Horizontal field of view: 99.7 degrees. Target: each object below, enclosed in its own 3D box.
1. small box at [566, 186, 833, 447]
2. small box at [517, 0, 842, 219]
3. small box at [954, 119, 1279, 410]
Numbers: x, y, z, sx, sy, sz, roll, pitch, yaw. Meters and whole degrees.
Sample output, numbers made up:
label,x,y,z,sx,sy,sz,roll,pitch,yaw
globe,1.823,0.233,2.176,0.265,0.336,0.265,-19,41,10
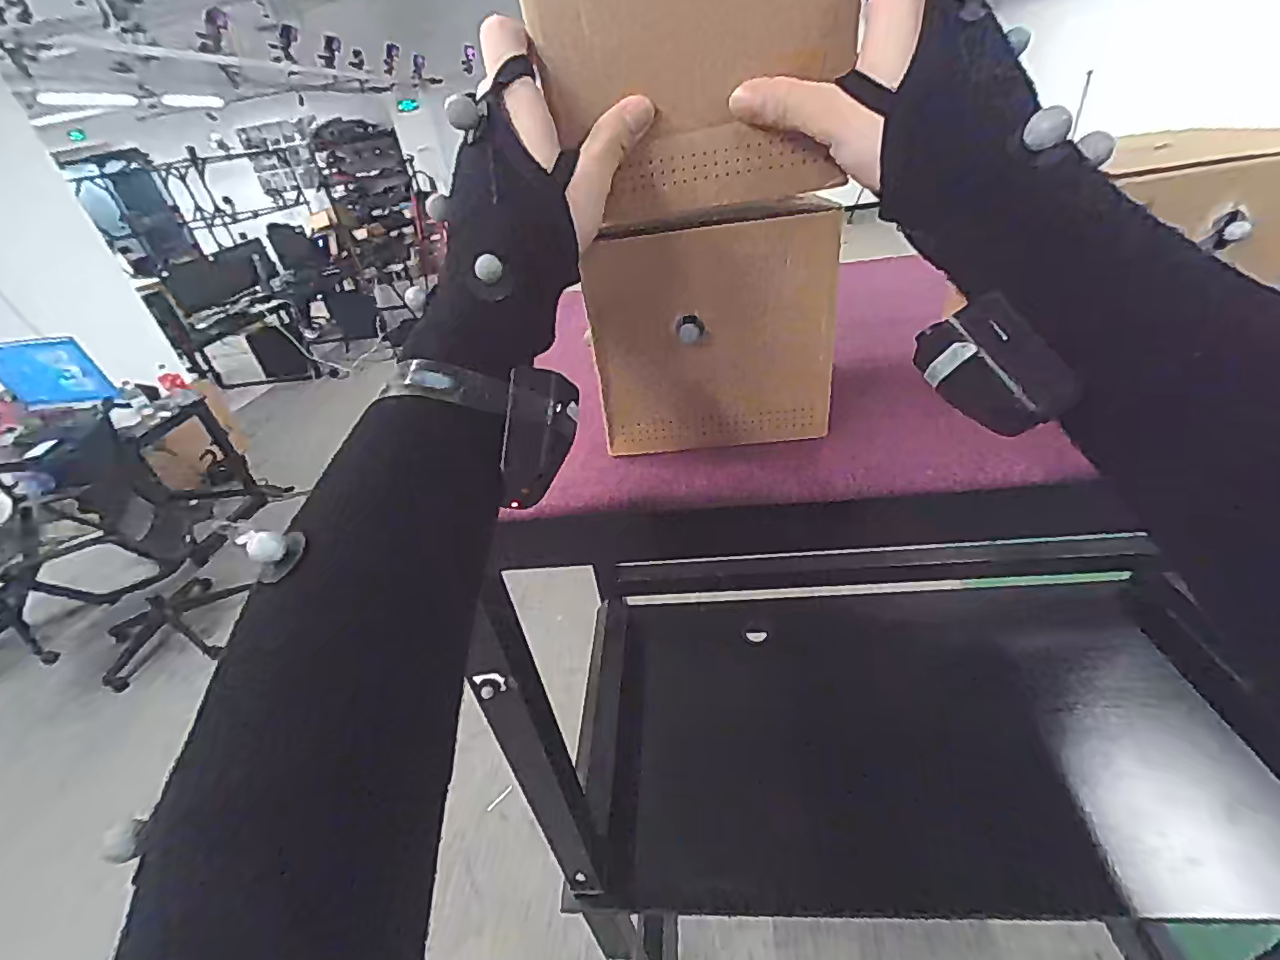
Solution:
label,x,y,z,sx,sy,sz,roll,pitch,yaw
small box,0.052,-0.138,0.452,0.179,0.176,0.168,-6,32,6
small box,0.026,-0.281,0.346,0.179,0.176,0.168,-5,39,8
small box,0.365,-0.162,0.412,0.179,0.176,0.168,-5,32,6
